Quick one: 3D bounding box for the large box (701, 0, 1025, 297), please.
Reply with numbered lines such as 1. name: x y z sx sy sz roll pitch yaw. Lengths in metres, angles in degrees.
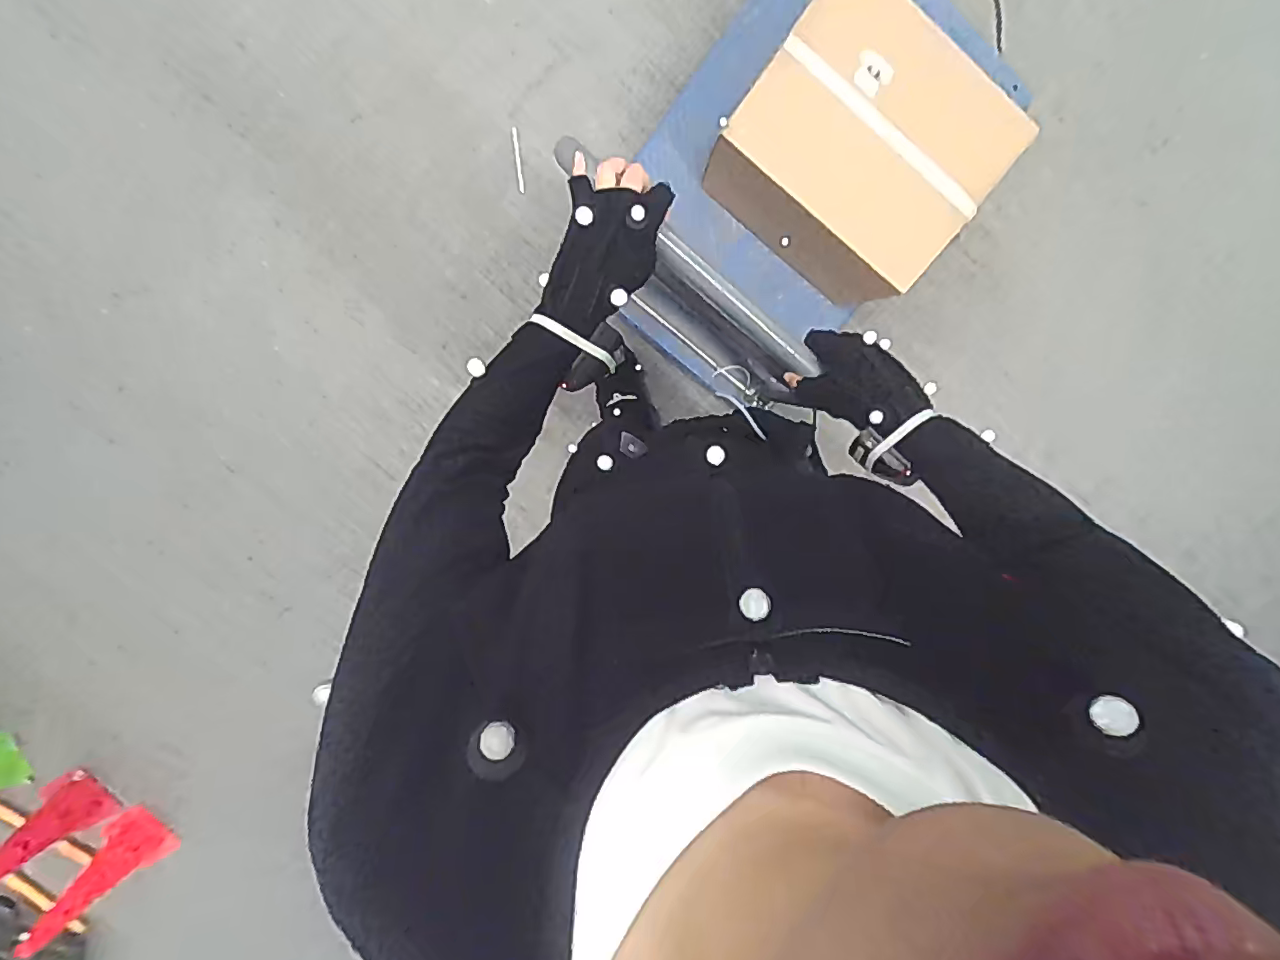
1. large box: 0.370 -0.597 1.006 0.408 0.320 0.320 37 101 -7
